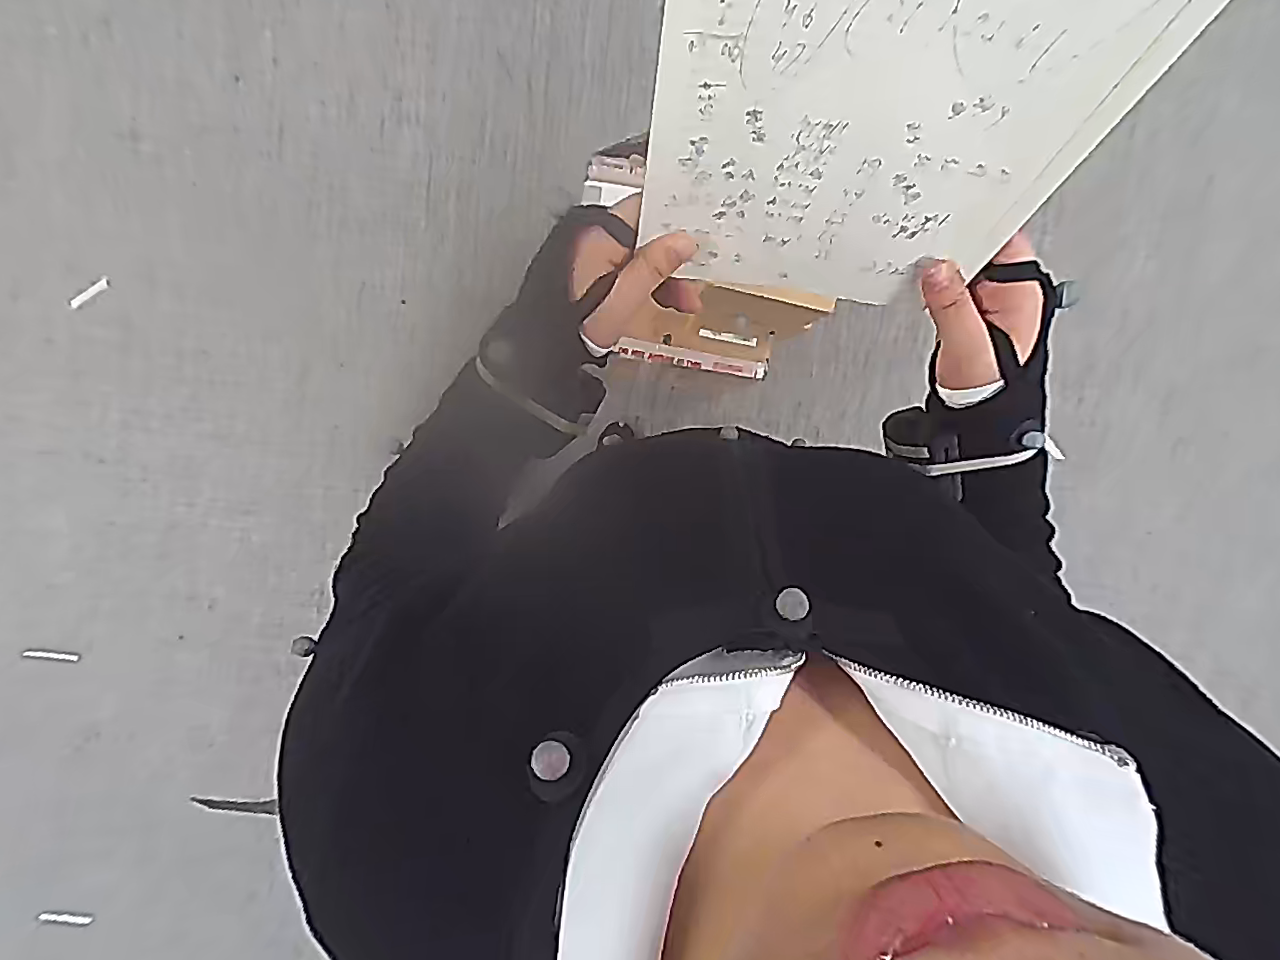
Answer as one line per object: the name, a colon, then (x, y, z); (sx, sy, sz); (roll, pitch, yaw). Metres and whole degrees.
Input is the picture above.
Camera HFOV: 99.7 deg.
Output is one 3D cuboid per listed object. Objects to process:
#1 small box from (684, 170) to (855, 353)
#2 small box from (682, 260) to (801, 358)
small box: (0.164, -0.286, 0.749); (0.168, 0.176, 0.179); (12, 97, -4)
small box: (0.176, -0.305, 0.913); (0.179, 0.176, 0.168); (8, 96, -3)
